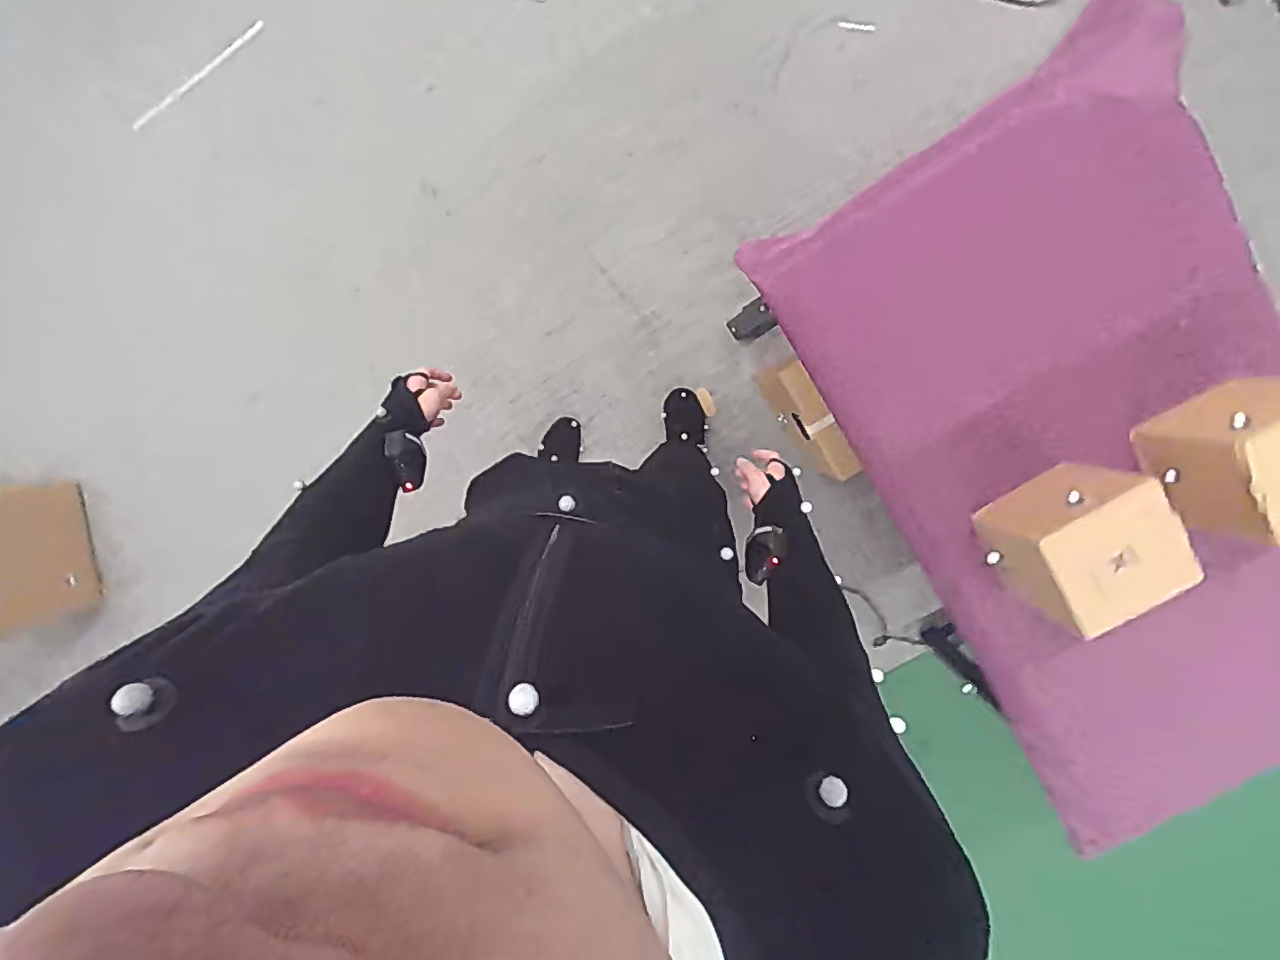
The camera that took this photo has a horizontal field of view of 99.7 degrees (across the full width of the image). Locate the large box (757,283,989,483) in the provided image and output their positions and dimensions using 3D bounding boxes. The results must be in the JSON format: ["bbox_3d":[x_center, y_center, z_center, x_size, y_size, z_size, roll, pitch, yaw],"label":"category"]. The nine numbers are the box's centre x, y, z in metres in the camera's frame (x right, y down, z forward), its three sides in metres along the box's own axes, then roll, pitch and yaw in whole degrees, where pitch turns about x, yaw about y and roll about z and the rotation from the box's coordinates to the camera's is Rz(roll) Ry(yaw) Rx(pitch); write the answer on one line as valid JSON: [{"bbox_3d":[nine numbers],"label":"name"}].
[{"bbox_3d":[0.577,-0.241,1.415,0.408,0.320,0.320,-31,98,5],"label":"large box"}]

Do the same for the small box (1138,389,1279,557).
[{"bbox_3d":[0.889,-0.021,0.774,0.179,0.176,0.168,-29,98,7],"label":"small box"}]

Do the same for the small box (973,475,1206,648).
[{"bbox_3d":[0.648,0.108,0.801,0.179,0.176,0.168,-30,97,6],"label":"small box"}]
